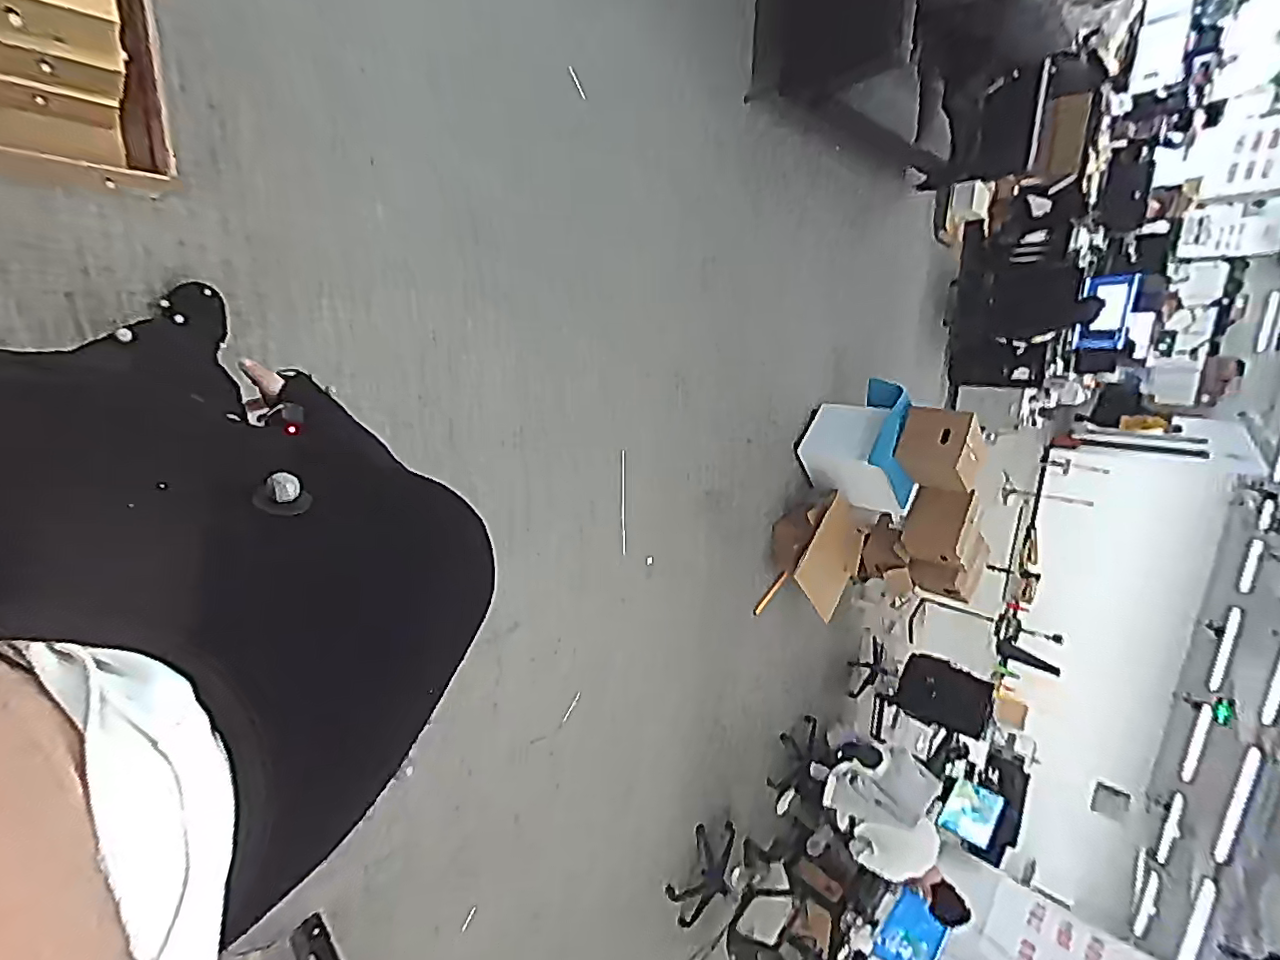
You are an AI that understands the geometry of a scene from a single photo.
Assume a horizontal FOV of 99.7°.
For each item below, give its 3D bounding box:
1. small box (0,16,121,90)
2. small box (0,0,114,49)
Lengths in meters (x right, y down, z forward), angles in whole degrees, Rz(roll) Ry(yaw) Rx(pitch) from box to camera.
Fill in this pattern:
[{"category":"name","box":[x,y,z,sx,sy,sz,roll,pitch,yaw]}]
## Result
[{"category":"small box","box":[-0.927,-0.729,0.823,0.179,0.176,0.168,-14,112,-43]},{"category":"small box","box":[-0.816,-0.711,0.705,0.168,0.176,0.179,-14,112,-42]}]
